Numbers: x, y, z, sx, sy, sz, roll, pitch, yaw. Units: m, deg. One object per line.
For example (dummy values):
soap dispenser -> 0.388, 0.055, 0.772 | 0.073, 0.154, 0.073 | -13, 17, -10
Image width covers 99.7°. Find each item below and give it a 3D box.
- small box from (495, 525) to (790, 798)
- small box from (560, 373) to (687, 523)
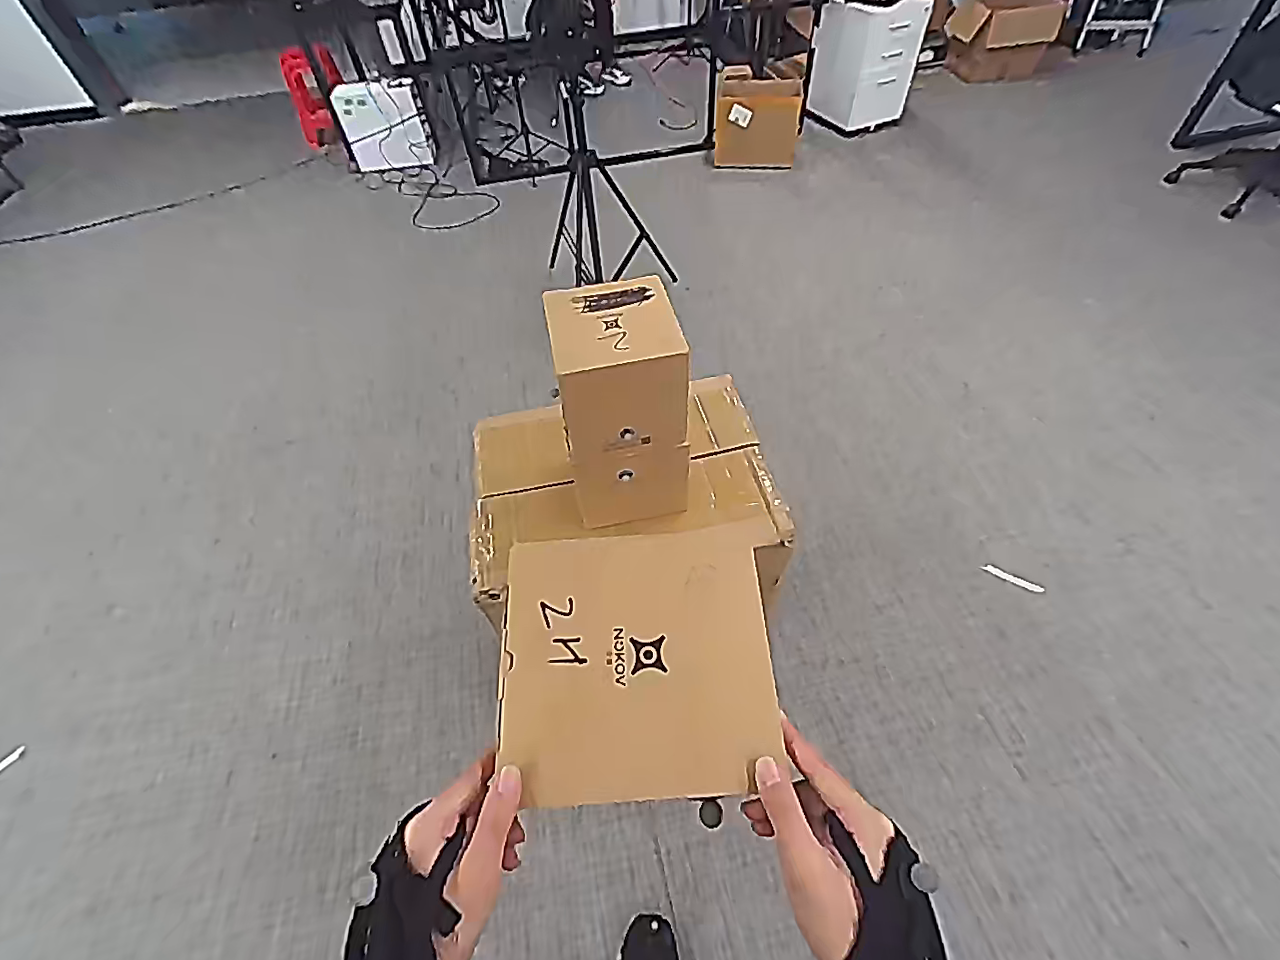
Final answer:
small box -> 0.000, 0.145, 0.421 | 0.179, 0.176, 0.168 | -4, 61, 0
small box -> -0.024, -0.047, 0.887 | 0.179, 0.176, 0.168 | -11, 52, -5
